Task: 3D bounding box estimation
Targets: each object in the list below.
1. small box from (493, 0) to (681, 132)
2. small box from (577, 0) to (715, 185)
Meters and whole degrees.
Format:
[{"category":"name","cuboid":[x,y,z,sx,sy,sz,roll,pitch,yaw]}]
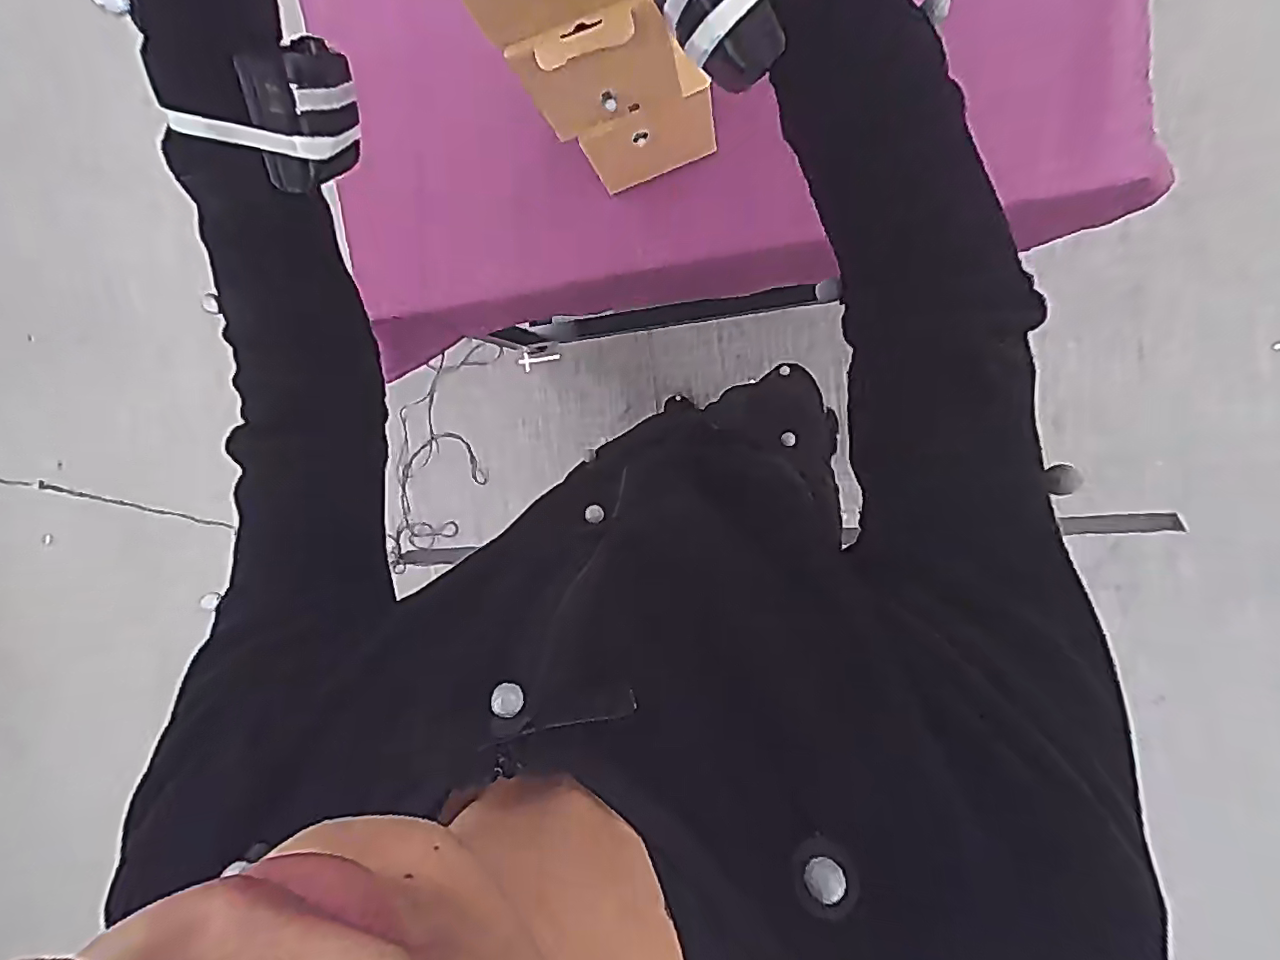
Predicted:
[{"category":"small box","cuboid":[-0.057,-0.529,0.589,0.168,0.176,0.179,-11,95,13]},{"category":"small box","cuboid":[-0.003,-0.544,0.745,0.179,0.176,0.168,-16,94,12]}]
